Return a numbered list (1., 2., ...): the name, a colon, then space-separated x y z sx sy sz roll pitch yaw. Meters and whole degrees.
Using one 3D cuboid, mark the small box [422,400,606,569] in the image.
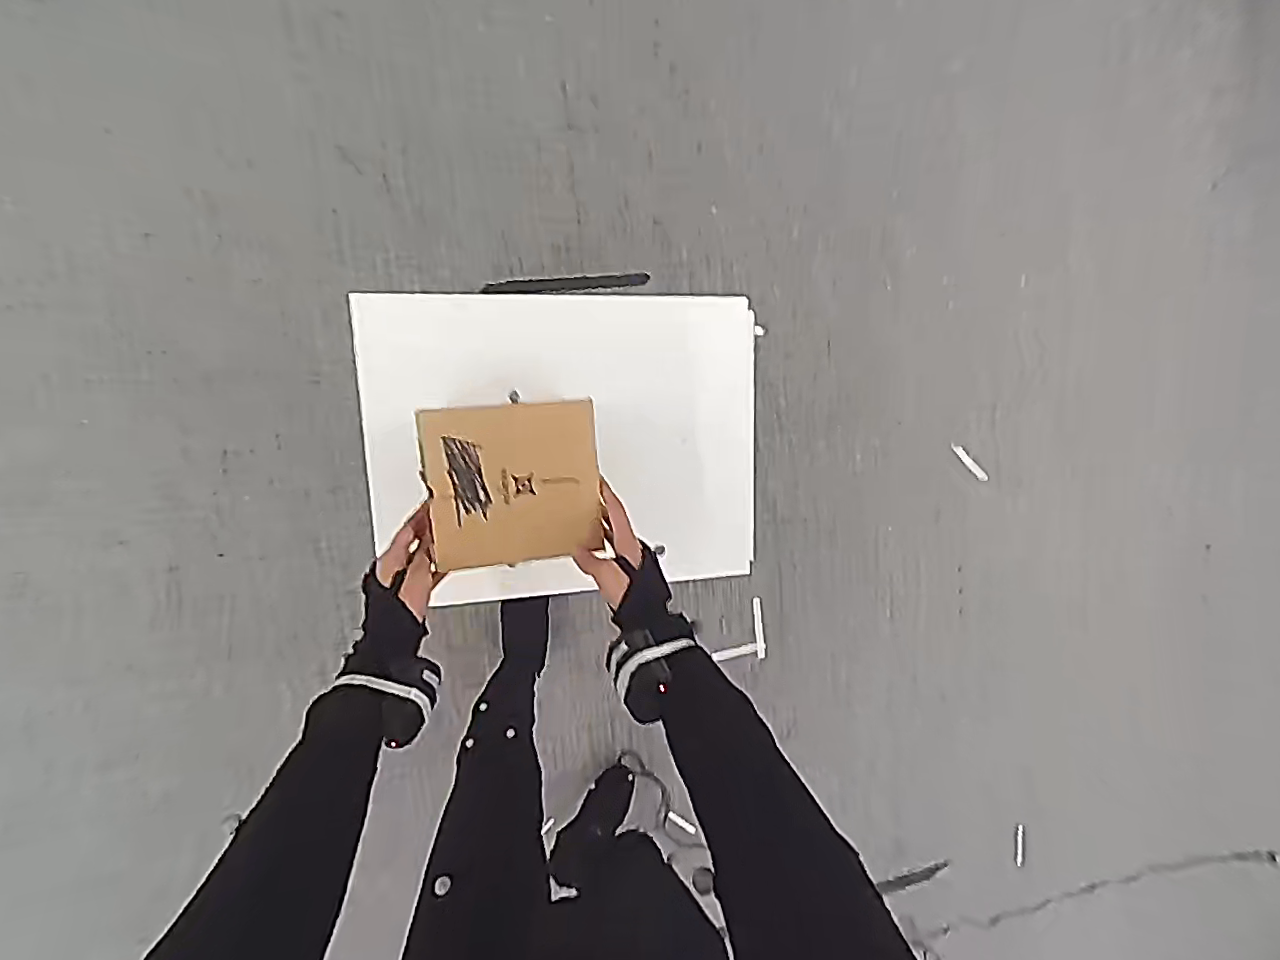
1. small box: -0.142 -0.004 0.632 0.179 0.176 0.168 -5 98 -13
